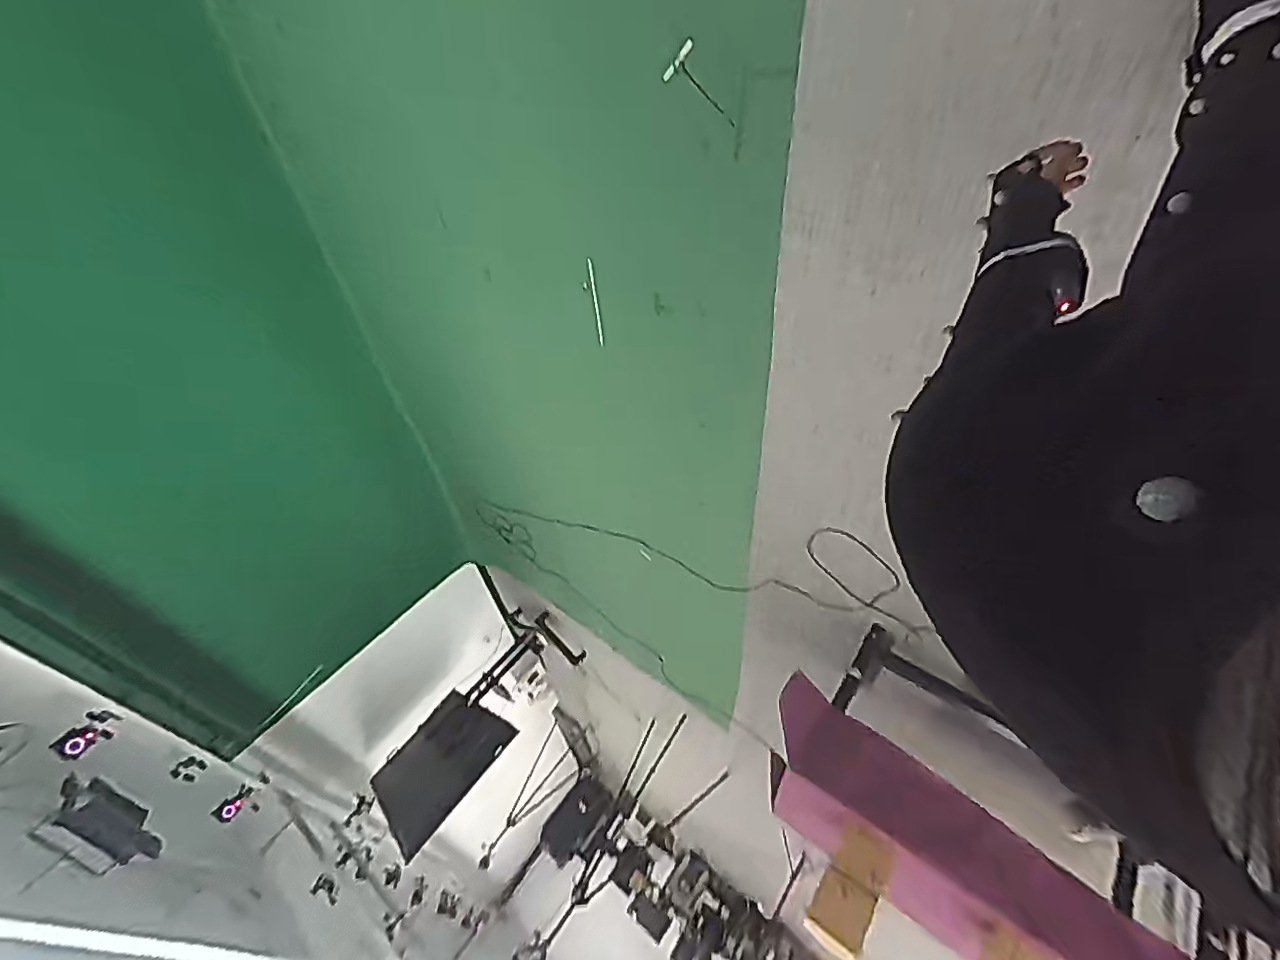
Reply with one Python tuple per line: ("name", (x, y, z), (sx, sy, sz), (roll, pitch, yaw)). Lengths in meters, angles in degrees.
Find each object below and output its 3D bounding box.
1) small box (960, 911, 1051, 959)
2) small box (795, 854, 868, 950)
("small box", (1.083, 1.439, 1.607), (0.179, 0.176, 0.168), (25, 143, 30))
("small box", (0.616, 1.358, 1.744), (0.168, 0.176, 0.179), (23, 143, 31))
